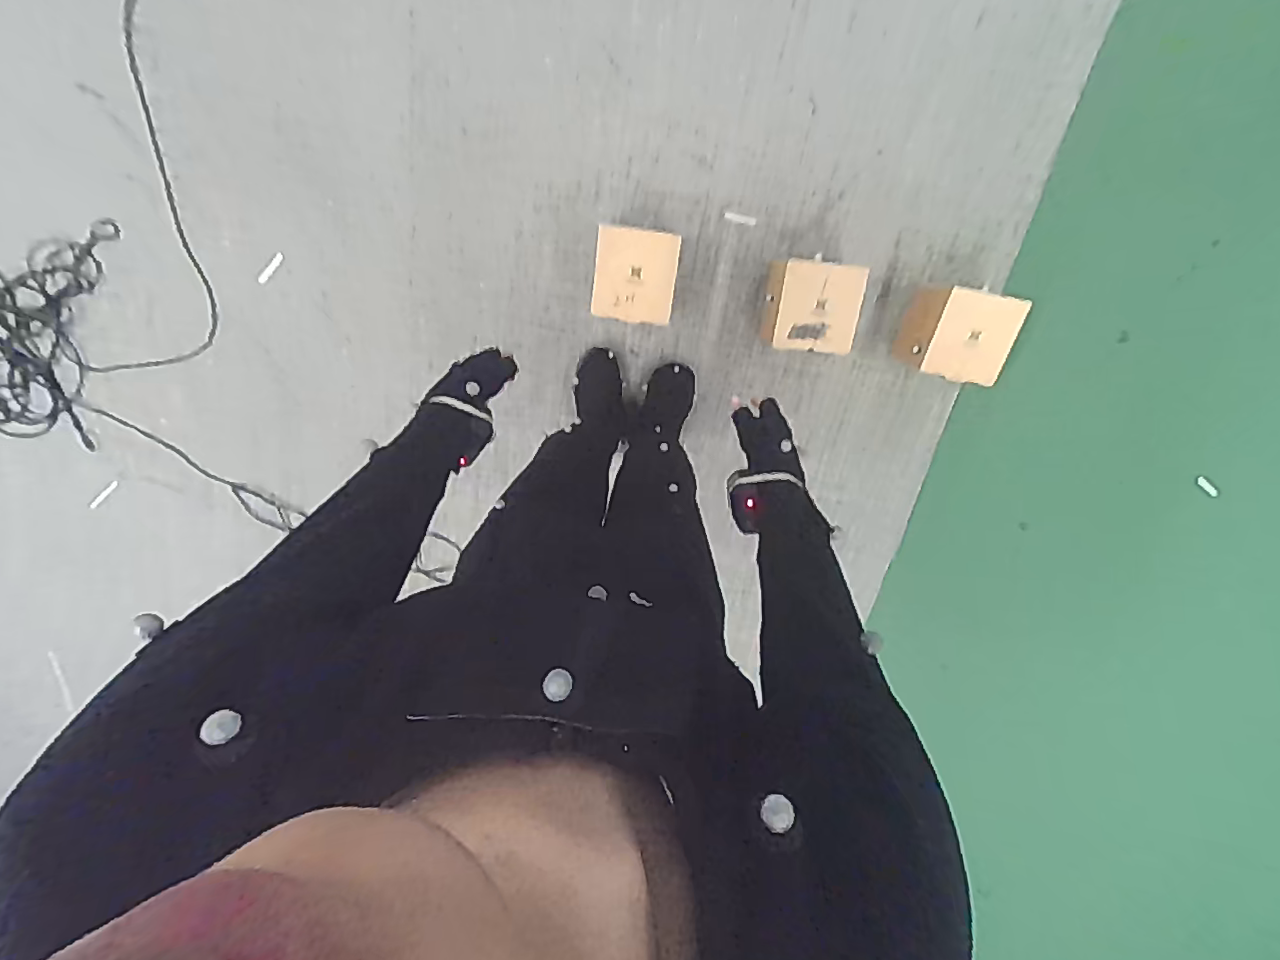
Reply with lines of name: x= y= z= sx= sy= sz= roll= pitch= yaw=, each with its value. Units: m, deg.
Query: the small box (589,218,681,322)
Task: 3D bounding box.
small box: x=-0.009 y=-0.448 z=1.154 sx=0.168 sy=0.176 sz=0.179 roll=9 pitch=114 yaw=0

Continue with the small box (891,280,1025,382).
small box: x=0.680 y=-0.331 z=1.183 sx=0.168 sy=0.176 sz=0.179 roll=11 pitch=114 yaw=-2

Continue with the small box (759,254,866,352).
small box: x=0.361 y=-0.386 z=1.169 sx=0.168 sy=0.176 sz=0.179 roll=6 pitch=113 yaw=-1
